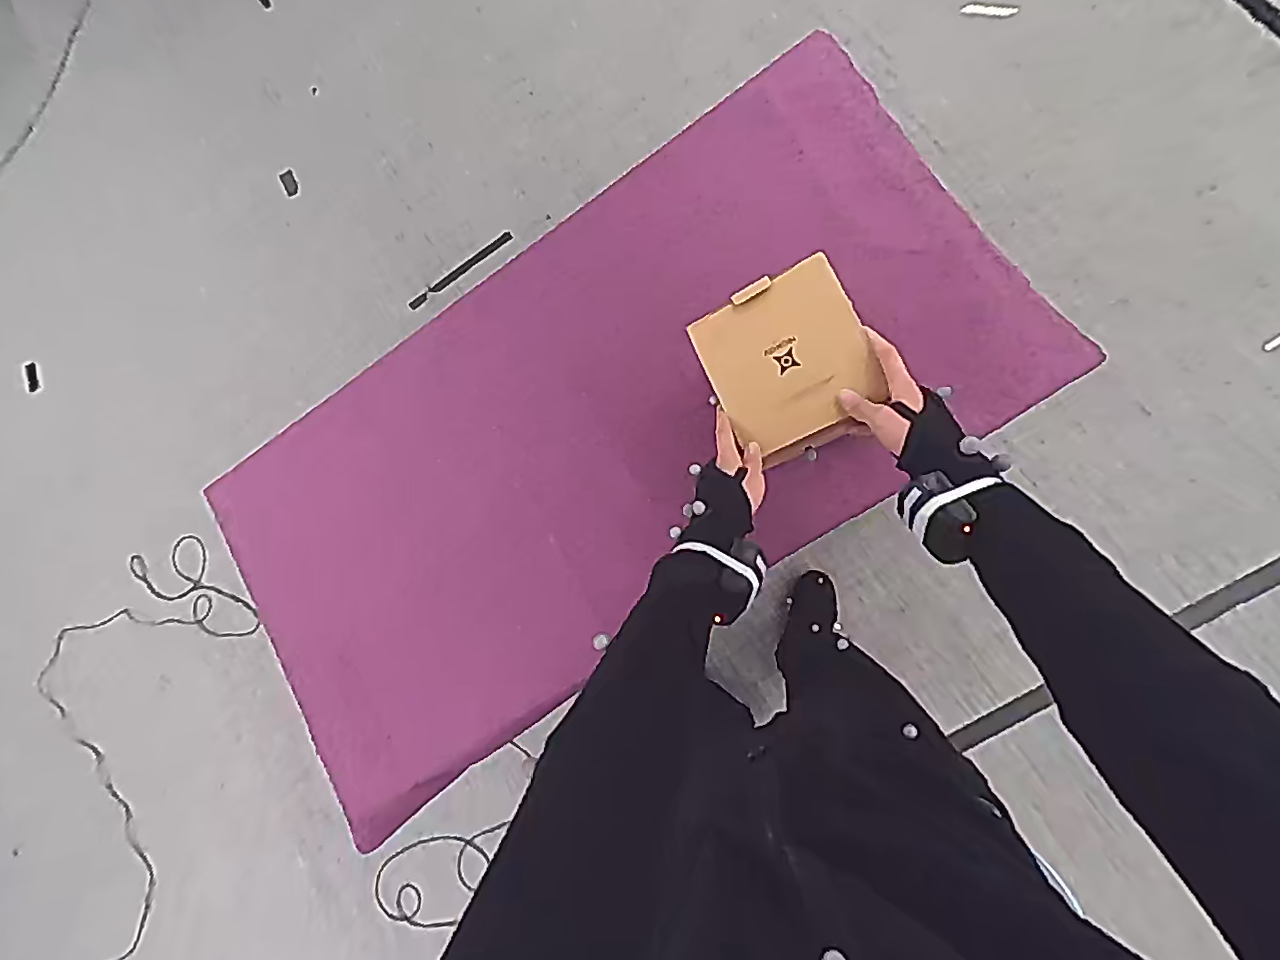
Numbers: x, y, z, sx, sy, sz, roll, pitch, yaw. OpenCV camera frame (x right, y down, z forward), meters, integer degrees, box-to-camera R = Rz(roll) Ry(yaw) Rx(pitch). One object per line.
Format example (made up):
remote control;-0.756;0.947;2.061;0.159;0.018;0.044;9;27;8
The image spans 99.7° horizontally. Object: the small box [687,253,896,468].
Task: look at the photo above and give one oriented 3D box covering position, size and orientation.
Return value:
small box;0.178;-0.126;0.648;0.168;0.176;0.179;-26;80;16
